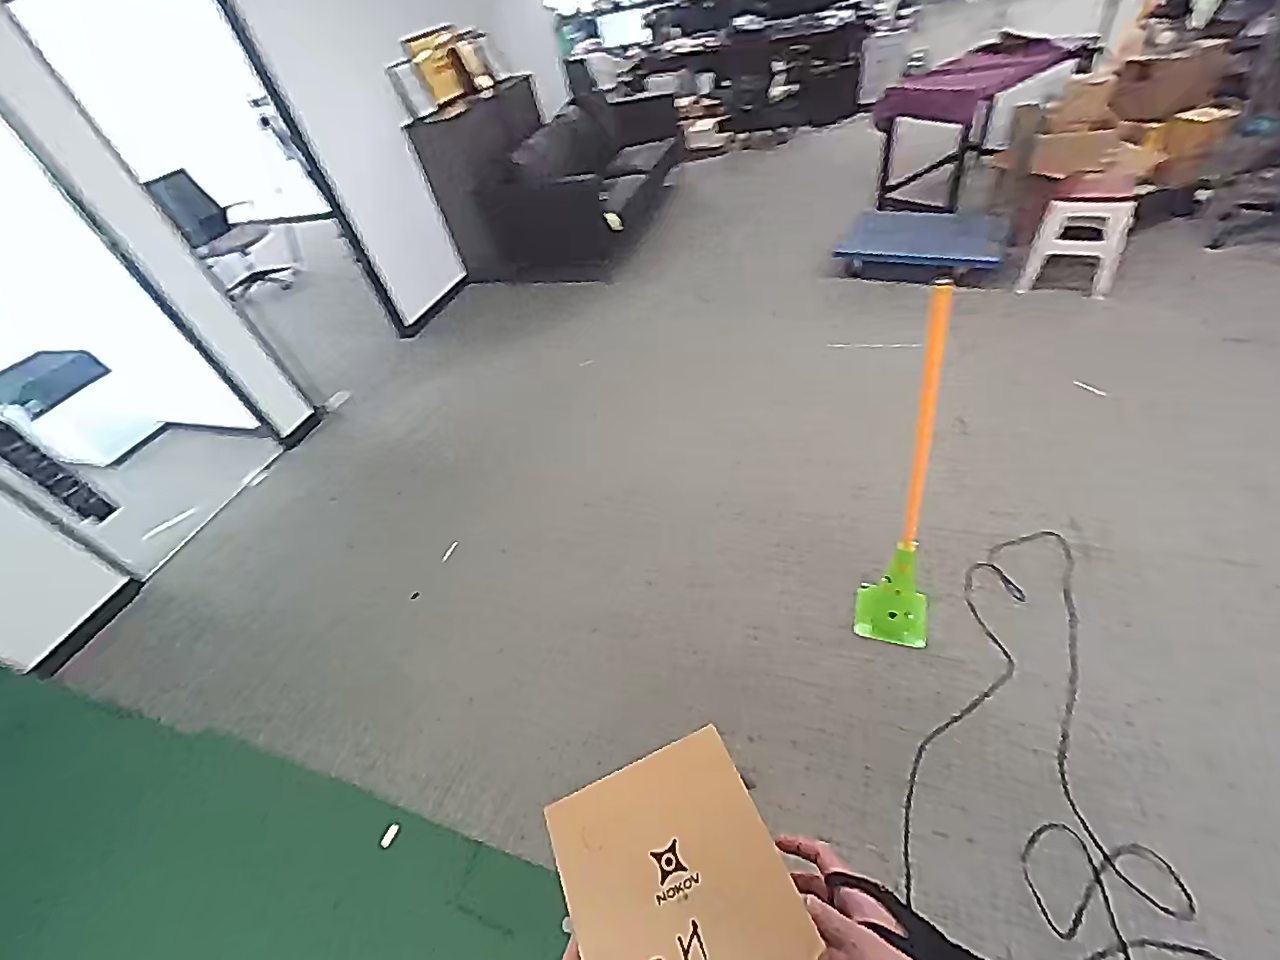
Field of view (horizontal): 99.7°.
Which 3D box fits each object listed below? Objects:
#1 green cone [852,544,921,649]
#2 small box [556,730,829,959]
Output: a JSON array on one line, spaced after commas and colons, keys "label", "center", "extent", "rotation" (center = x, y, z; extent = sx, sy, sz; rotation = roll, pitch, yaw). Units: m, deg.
[{"label": "green cone", "center": [0.764, 0.318, 1.615], "extent": [0.202, 0.368, 0.200], "rotation": [8, 49, 20]}, {"label": "small box", "center": [0.040, 0.365, 0.483], "extent": [0.168, 0.176, 0.179], "rotation": [-21, 48, -8]}]
